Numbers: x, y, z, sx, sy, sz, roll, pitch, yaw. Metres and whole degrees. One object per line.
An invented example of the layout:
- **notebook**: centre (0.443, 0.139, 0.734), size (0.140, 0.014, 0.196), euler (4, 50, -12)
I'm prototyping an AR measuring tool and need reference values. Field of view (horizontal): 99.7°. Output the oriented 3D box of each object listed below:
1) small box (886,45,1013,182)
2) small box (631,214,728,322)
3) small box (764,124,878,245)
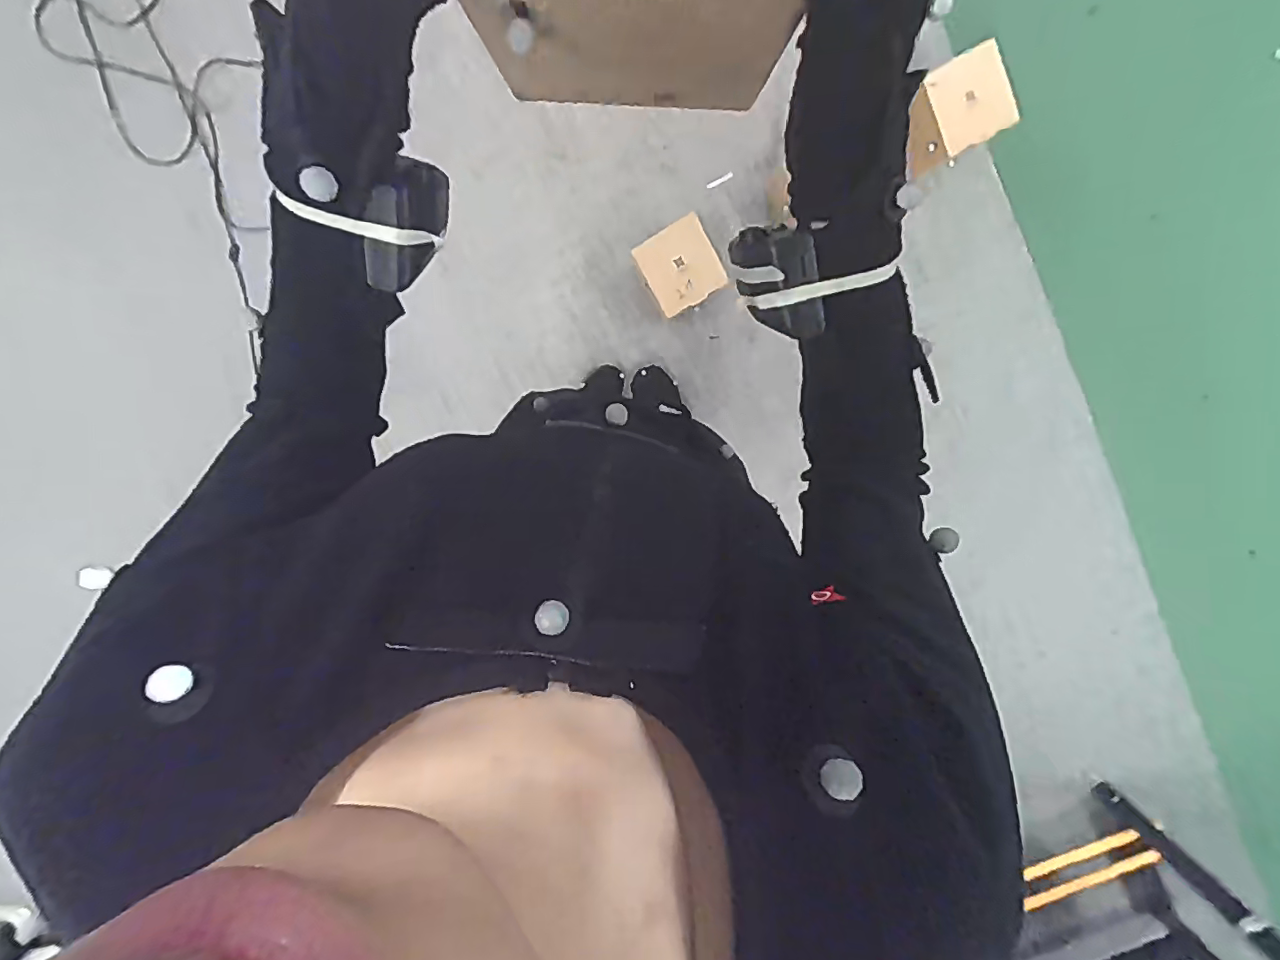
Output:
- **small box**: centre (0.701, -0.830, 1.244), size (0.168, 0.176, 0.179), euler (-27, 101, 6)
- **small box**: centre (0.089, -0.499, 1.303), size (0.168, 0.176, 0.179), euler (-30, 101, 7)
- **small box**: centre (0.417, -0.677, 1.271), size (0.168, 0.176, 0.179), euler (-32, 100, 6)
